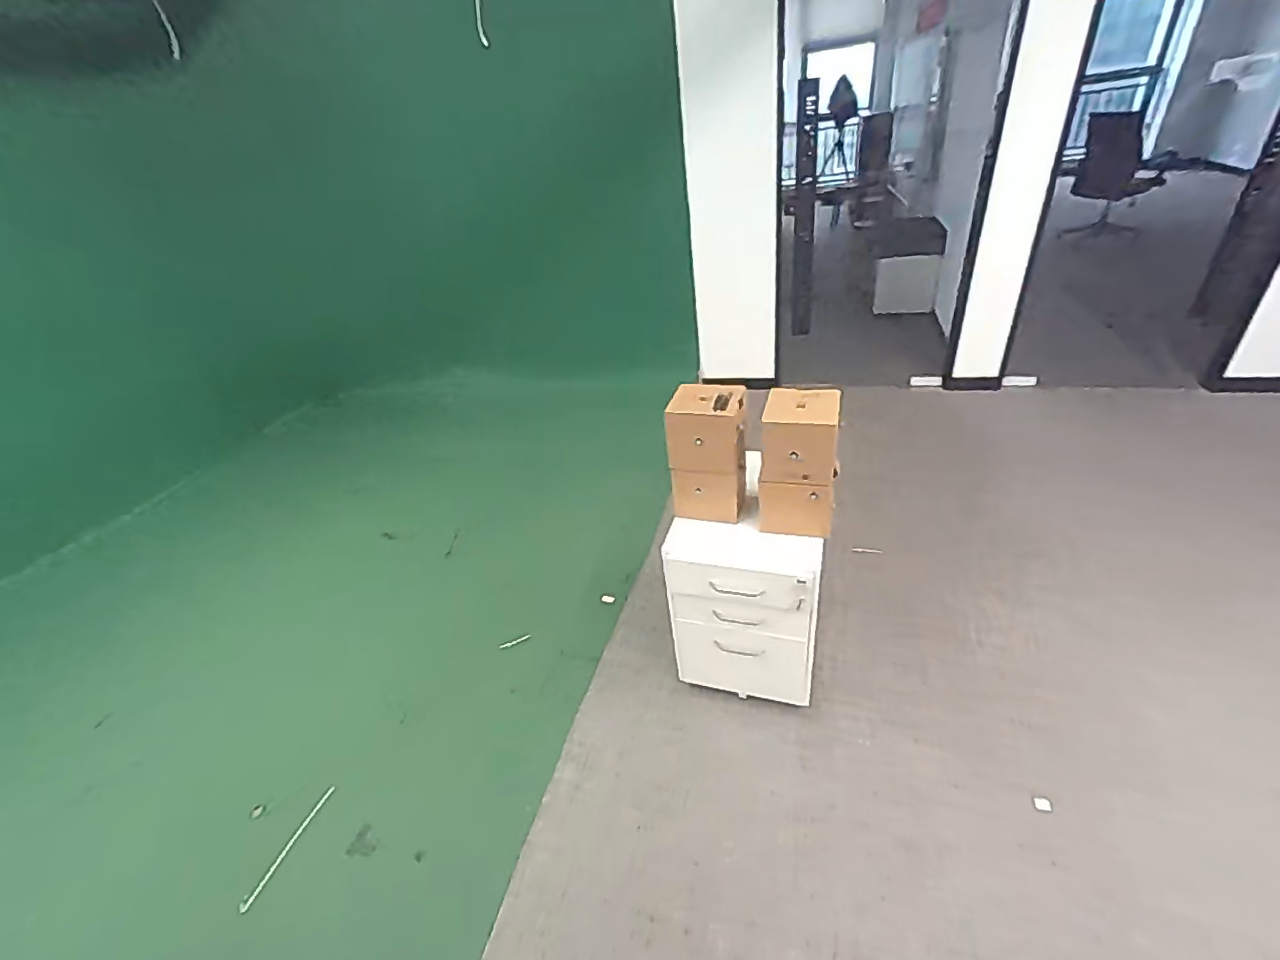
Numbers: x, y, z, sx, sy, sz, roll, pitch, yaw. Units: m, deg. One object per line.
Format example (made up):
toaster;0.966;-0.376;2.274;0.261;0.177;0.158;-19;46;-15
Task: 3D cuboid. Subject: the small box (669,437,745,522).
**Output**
small box;0.189;-0.002;1.493;0.179;0.176;0.168;6;37;18

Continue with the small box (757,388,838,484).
small box;0.383;-0.107;1.311;0.168;0.176;0.179;6;36;20
